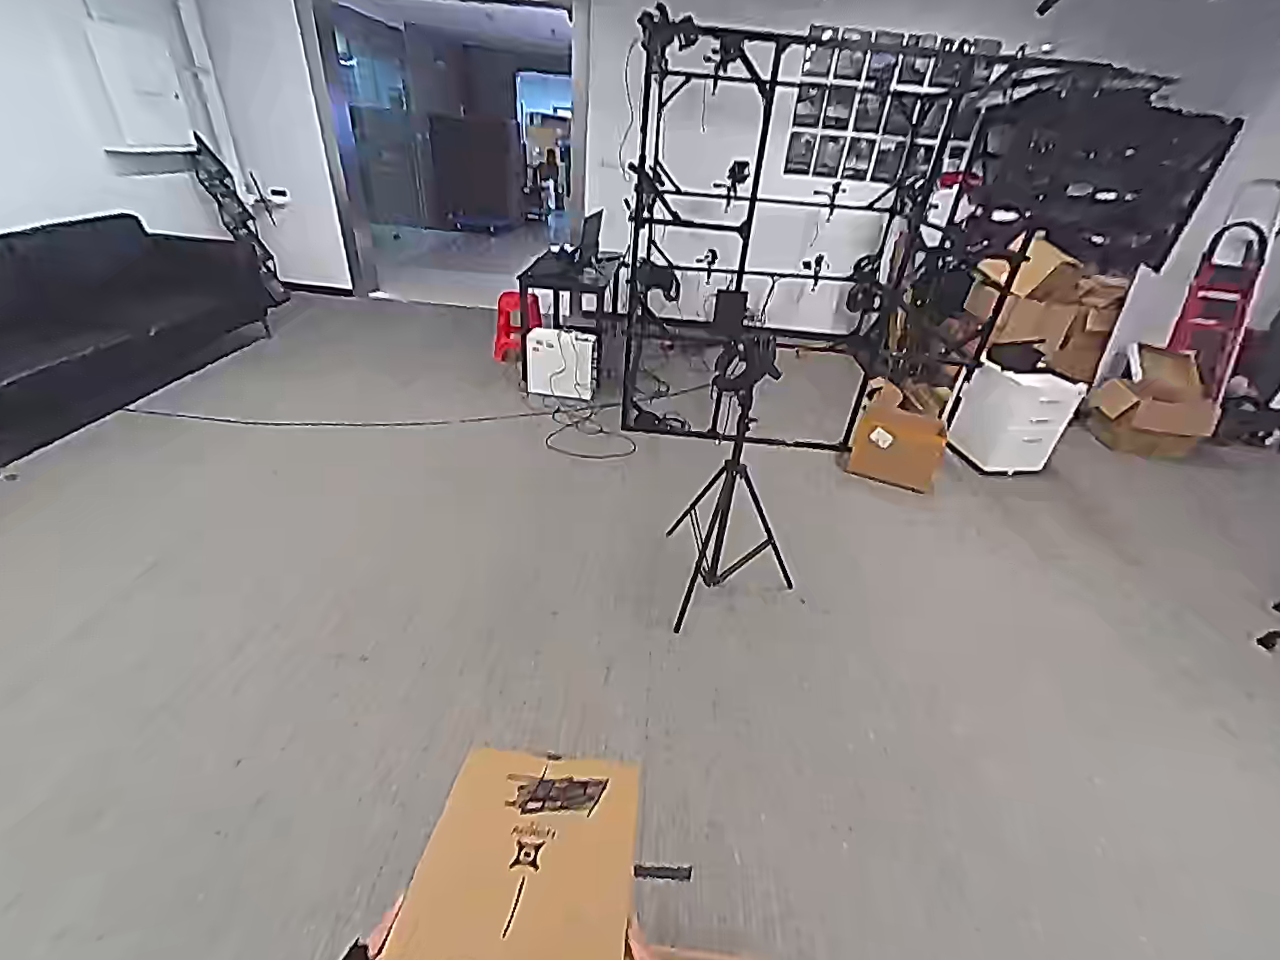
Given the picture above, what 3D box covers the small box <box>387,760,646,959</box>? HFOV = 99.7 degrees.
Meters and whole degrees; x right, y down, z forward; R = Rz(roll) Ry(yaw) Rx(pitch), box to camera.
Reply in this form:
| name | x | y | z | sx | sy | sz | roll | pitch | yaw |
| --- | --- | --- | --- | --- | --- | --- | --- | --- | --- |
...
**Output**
| name | x | y | z | sx | sy | sz | roll | pitch | yaw |
| --- | --- | --- | --- | --- | --- | --- | --- | --- | --- |
| small box | -0.086 | 0.372 | 0.449 | 0.168 | 0.176 | 0.179 | 3 | 15 | 3 |
